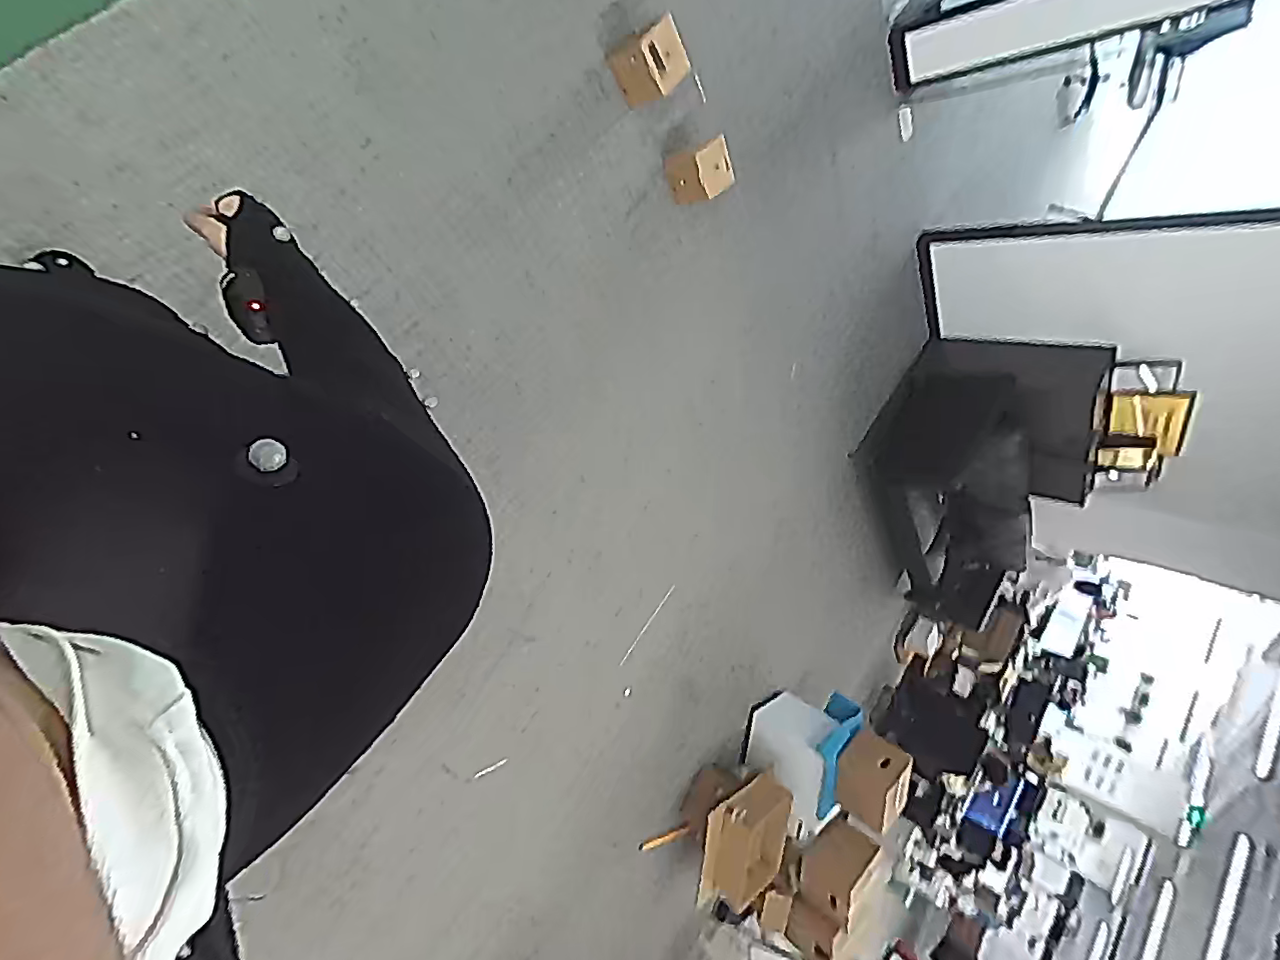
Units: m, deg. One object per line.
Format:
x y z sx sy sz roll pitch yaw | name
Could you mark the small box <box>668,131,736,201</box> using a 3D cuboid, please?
0.228 -1.175 2.035 0.179 0.176 0.168 -46 132 -21 | small box
